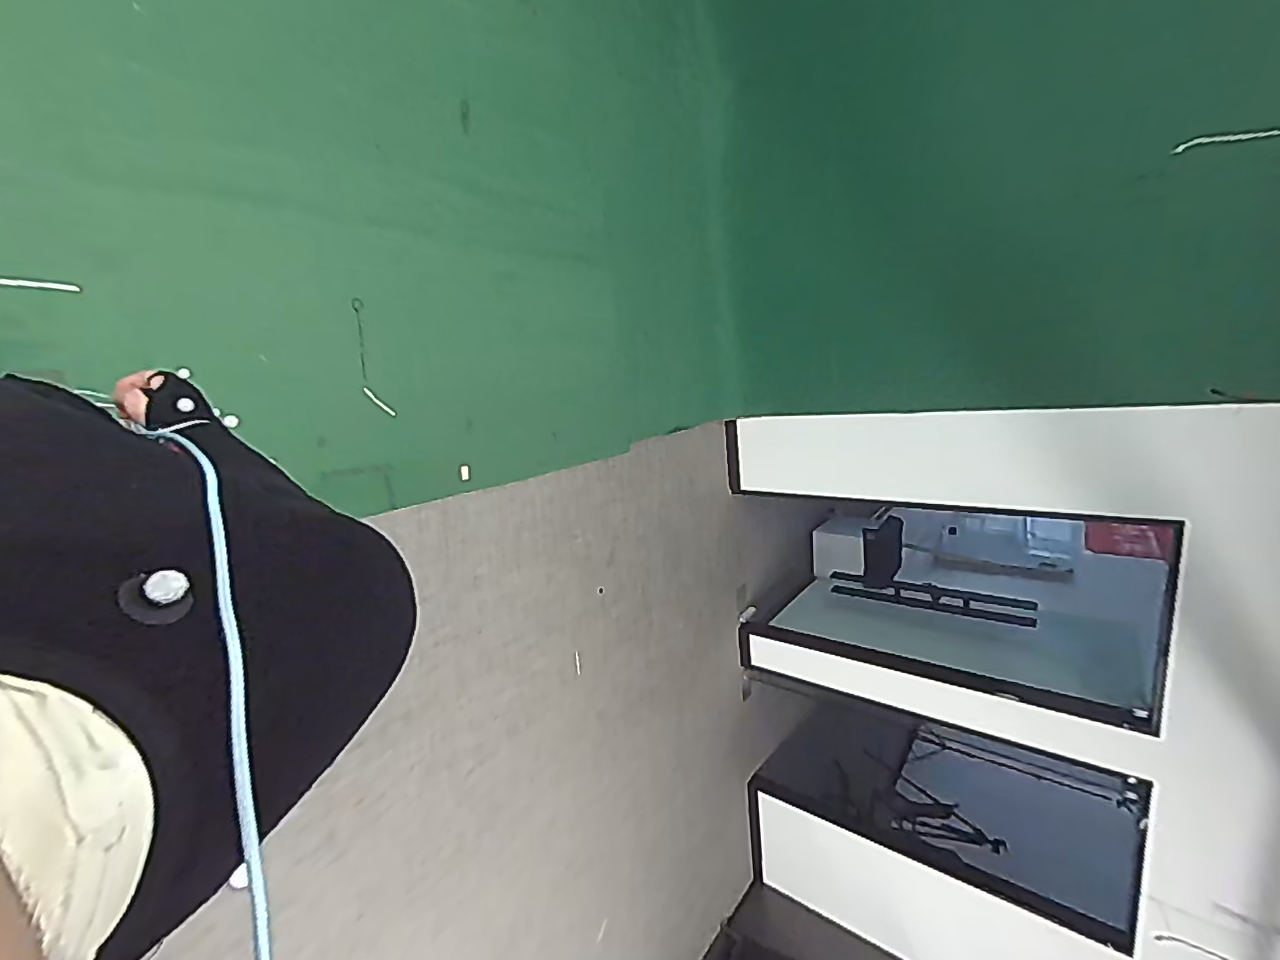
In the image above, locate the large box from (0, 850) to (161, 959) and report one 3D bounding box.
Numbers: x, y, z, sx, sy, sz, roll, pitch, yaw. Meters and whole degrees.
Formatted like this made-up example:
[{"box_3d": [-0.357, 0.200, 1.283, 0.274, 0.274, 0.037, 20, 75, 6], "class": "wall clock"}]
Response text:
[{"box_3d": [-1.213, 1.053, 1.048, 0.408, 0.320, 0.320, -21, 110, -49], "class": "large box"}]
